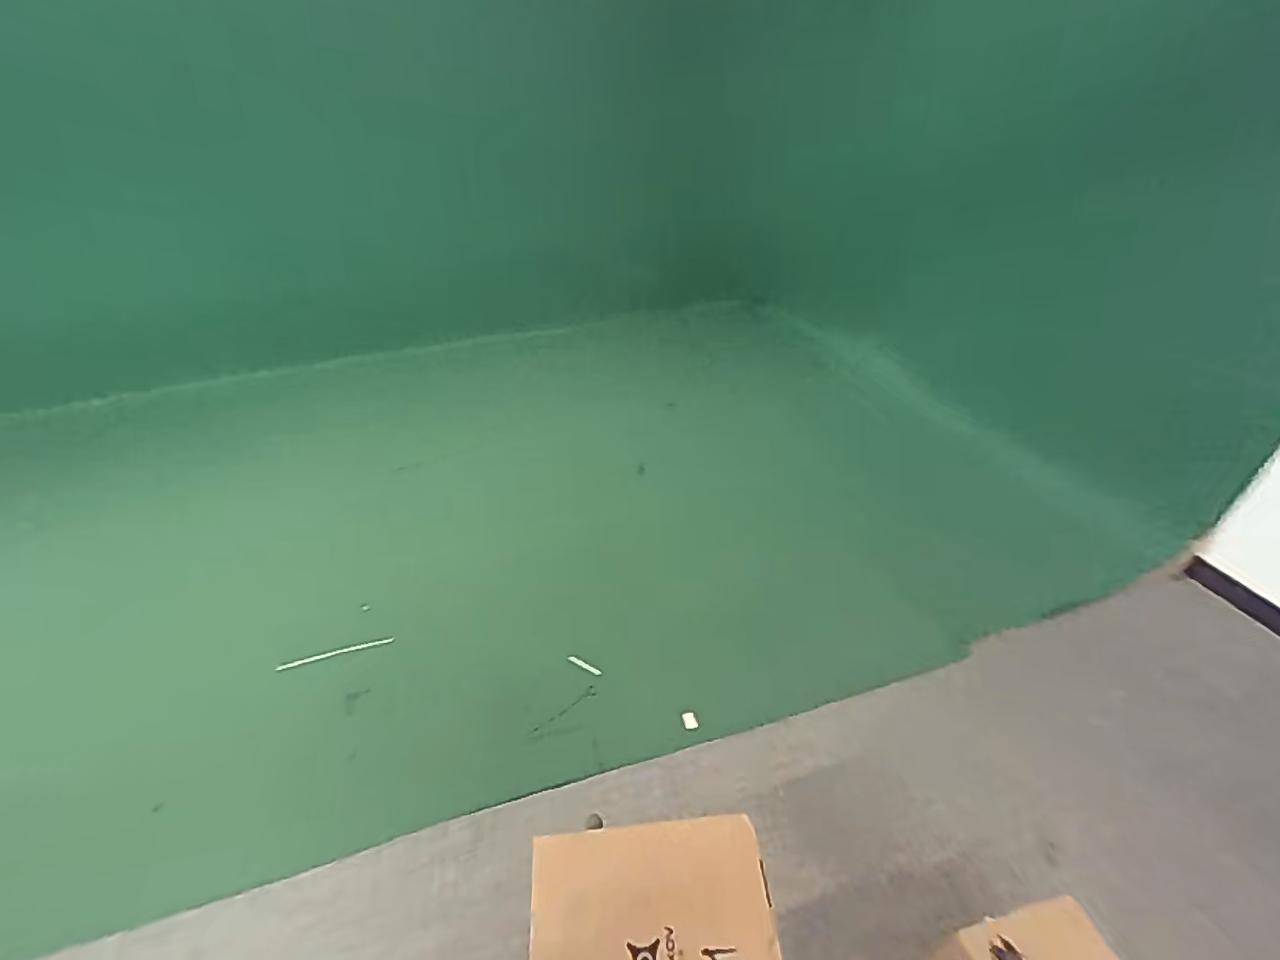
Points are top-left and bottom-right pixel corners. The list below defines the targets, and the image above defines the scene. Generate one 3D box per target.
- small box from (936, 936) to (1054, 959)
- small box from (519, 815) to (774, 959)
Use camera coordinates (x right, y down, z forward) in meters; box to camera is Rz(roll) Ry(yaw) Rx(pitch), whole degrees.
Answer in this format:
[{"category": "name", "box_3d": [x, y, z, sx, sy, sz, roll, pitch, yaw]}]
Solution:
[{"category": "small box", "box_3d": [0.521, 0.796, 0.777, 0.179, 0.176, 0.168, -7, 37, -7]}, {"category": "small box", "box_3d": [0.005, 0.382, 0.426, 0.179, 0.176, 0.168, -4, 49, -5]}]
